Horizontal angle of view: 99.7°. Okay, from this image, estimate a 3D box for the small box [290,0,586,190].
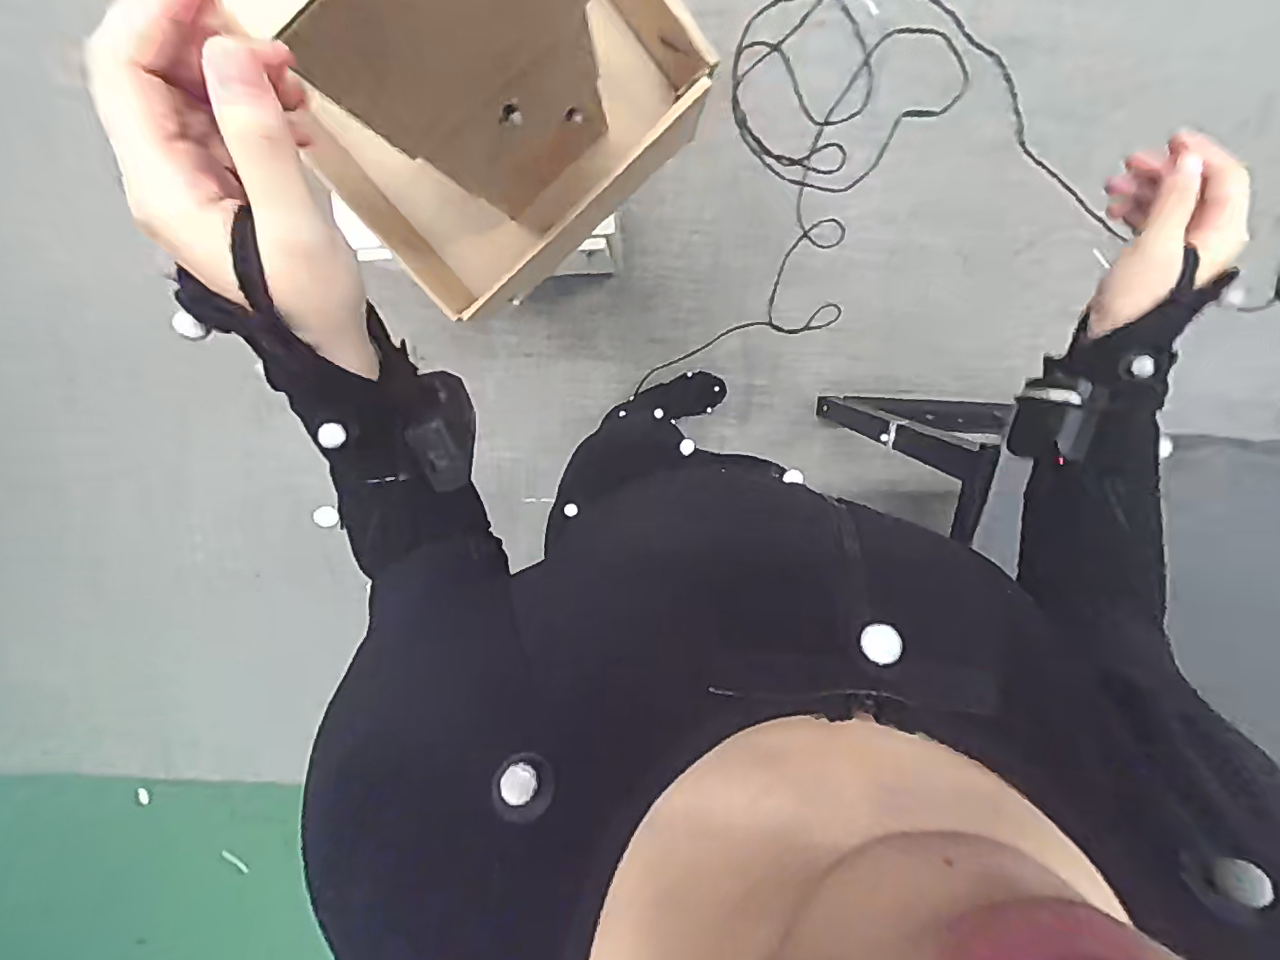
[{"bbox_3d":[-0.161,-0.391,0.463,0.179,0.176,0.168,-38,101,11],"label":"small box"}]
